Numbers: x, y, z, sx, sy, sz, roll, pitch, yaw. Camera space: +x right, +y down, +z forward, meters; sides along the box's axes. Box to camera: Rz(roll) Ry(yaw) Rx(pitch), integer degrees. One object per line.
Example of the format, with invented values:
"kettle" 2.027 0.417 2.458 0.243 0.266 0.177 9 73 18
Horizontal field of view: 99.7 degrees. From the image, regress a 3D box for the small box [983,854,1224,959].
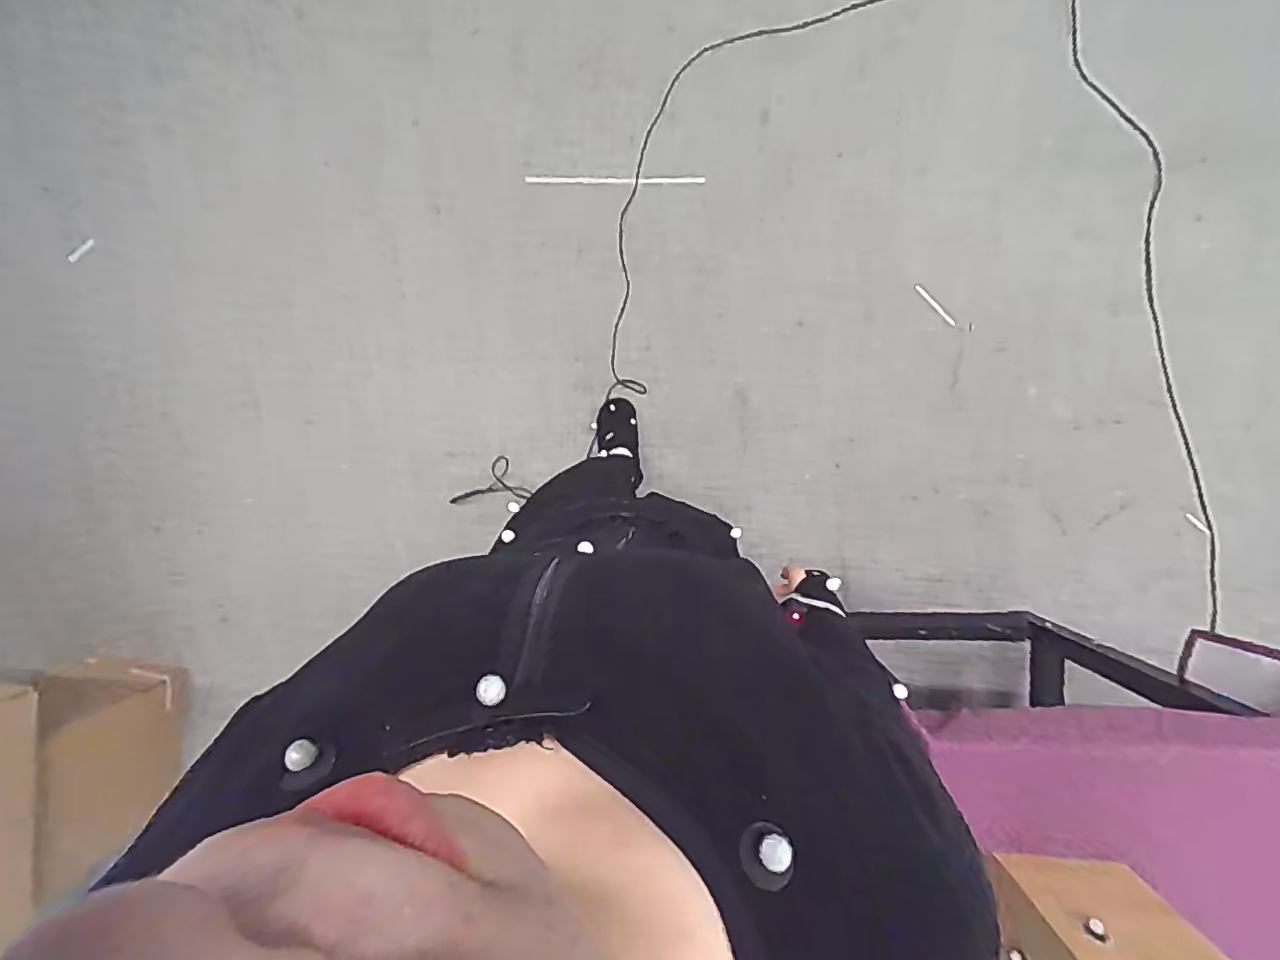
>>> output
"small box" 0.555 0.598 0.661 0.179 0.176 0.168 3 94 3
